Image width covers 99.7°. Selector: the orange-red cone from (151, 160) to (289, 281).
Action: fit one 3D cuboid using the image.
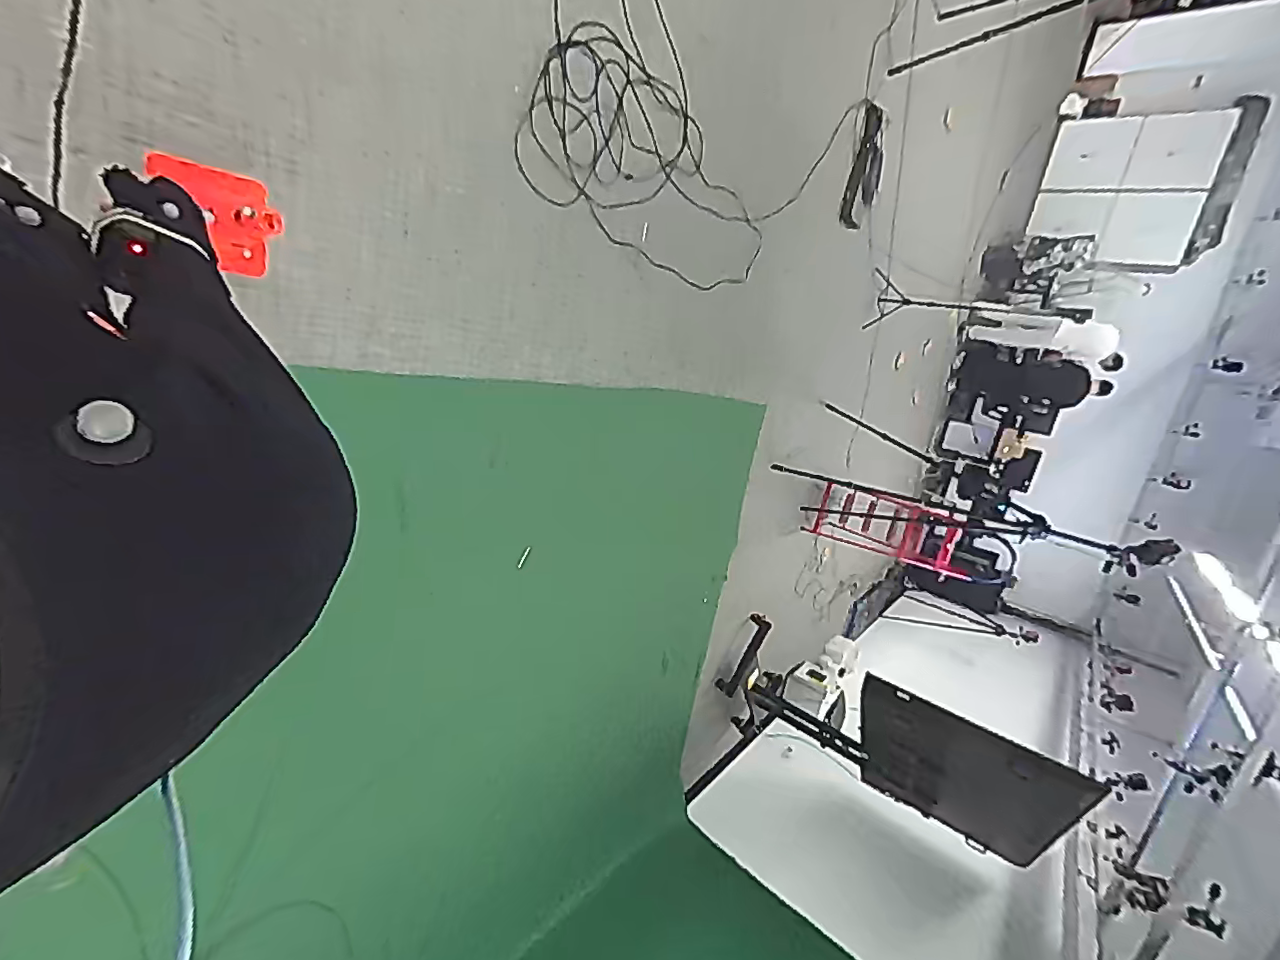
[{"bbox_3d":[-0.760,-0.487,1.031,0.198,0.360,0.199,-7,112,-51],"label":"orange-red cone"}]
